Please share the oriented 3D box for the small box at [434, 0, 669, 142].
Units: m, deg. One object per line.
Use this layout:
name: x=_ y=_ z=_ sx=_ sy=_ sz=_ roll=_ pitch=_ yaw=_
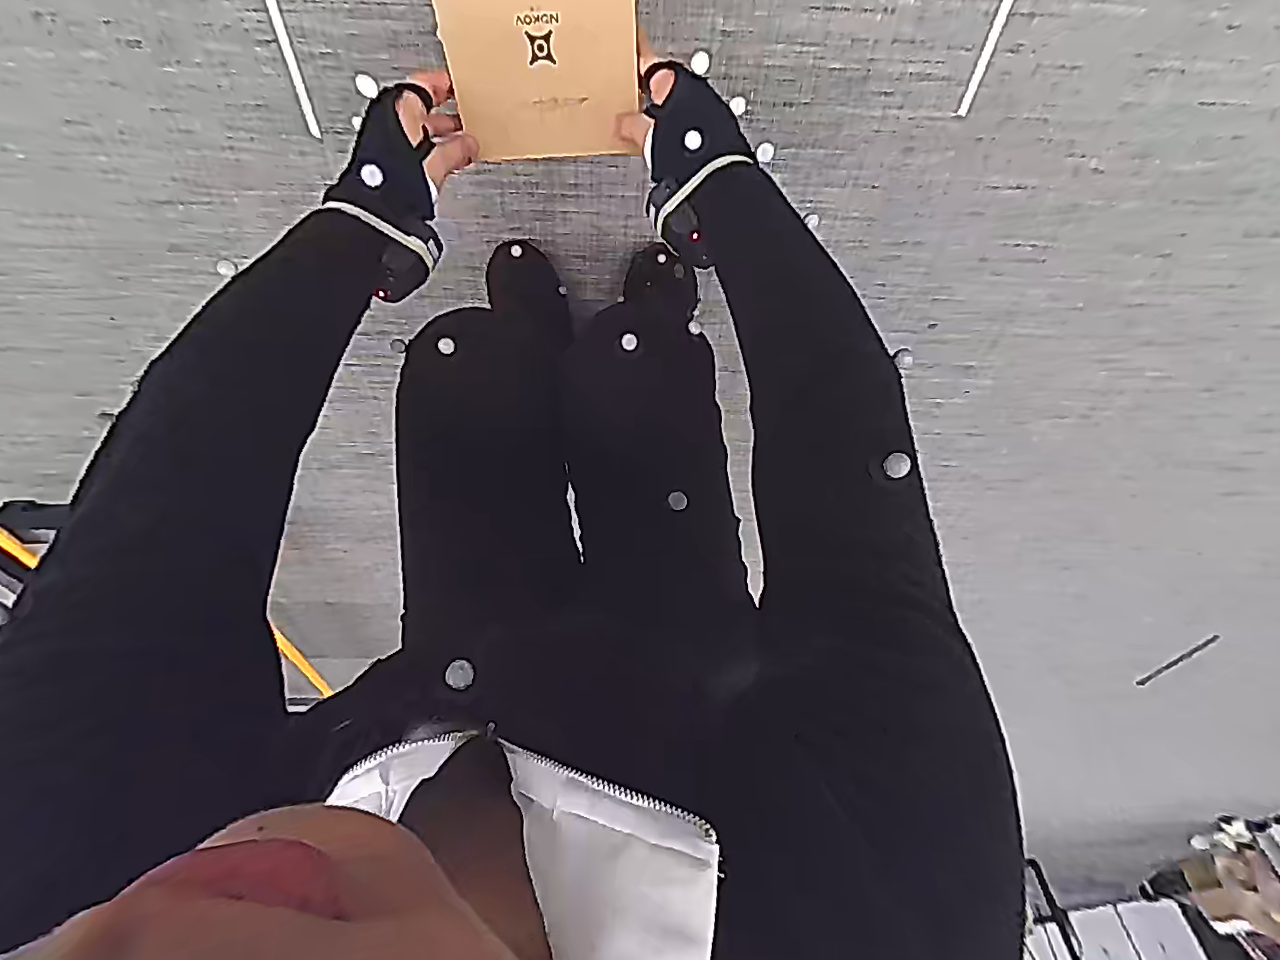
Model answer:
small box: x=-0.064 y=-0.393 z=0.428 sx=0.168 sy=0.176 sz=0.179 roll=-2 pitch=137 yaw=1
